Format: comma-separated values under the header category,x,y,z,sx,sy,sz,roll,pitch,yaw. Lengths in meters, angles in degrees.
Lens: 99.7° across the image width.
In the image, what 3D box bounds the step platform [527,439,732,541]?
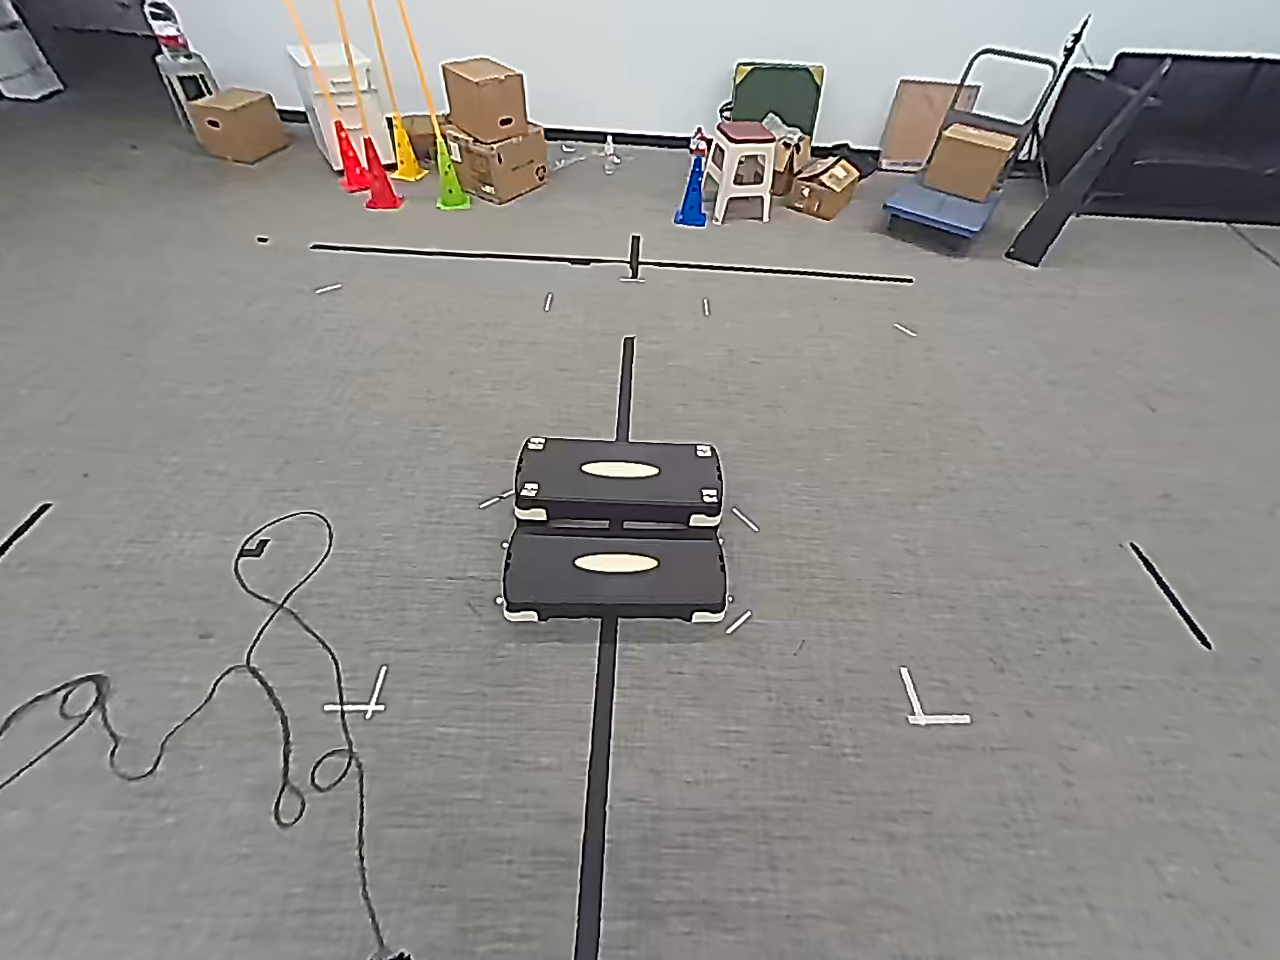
category,x,y,z,sx,sy,sz,roll,pitch,yaw
step platform,-0.034,0.029,1.826,0.684,0.204,0.286,2,49,-4
